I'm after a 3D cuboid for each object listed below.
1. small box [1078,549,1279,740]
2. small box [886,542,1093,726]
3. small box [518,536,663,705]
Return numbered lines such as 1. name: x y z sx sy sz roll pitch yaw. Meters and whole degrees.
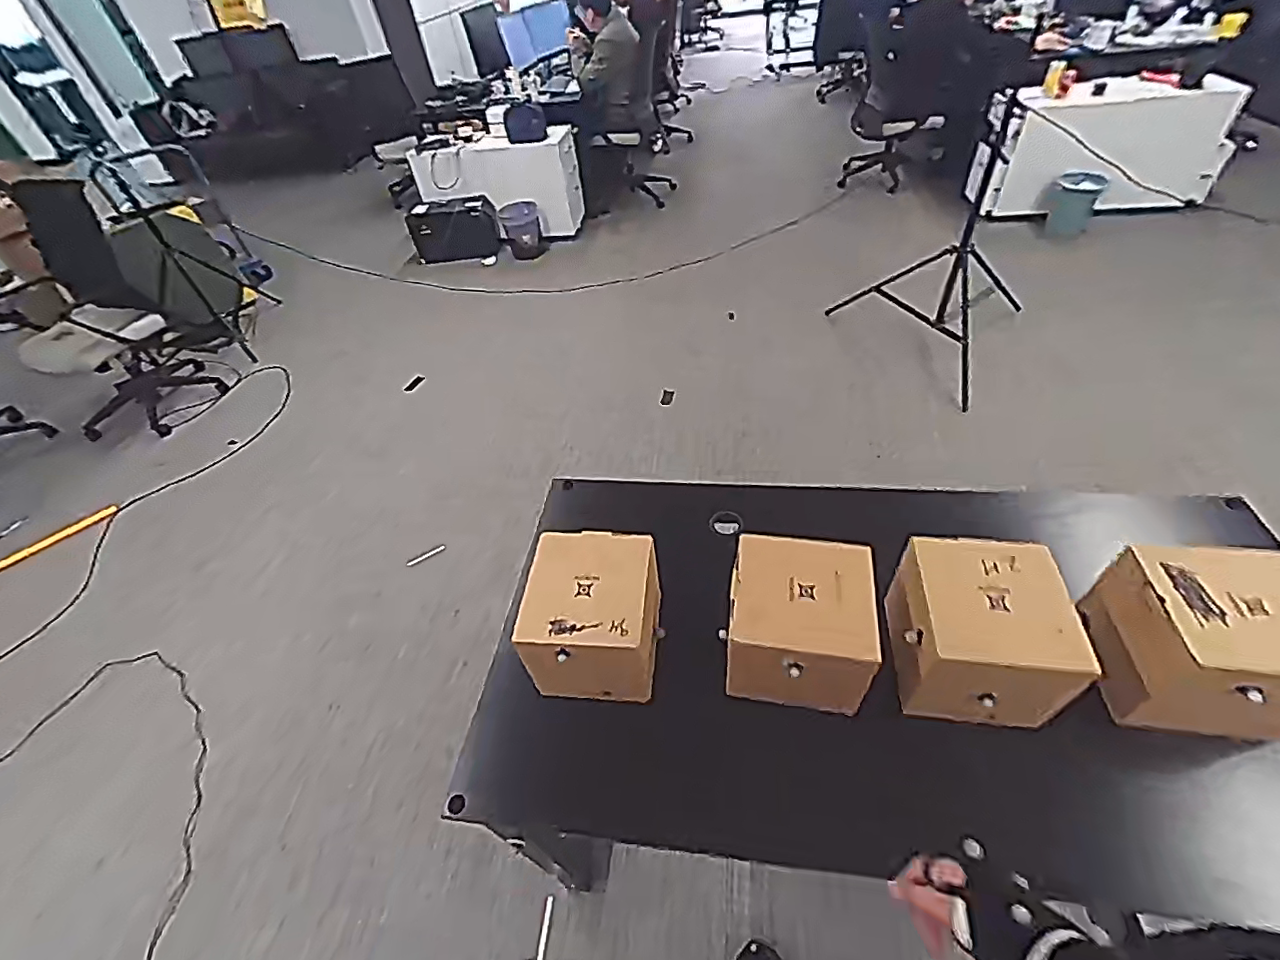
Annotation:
1. small box: 0.699 0.207 0.680 0.179 0.176 0.168 3 47 11
2. small box: 0.441 0.206 0.719 0.168 0.176 0.179 3 46 10
3. small box: -0.059 0.204 0.793 0.168 0.176 0.179 0 46 10
